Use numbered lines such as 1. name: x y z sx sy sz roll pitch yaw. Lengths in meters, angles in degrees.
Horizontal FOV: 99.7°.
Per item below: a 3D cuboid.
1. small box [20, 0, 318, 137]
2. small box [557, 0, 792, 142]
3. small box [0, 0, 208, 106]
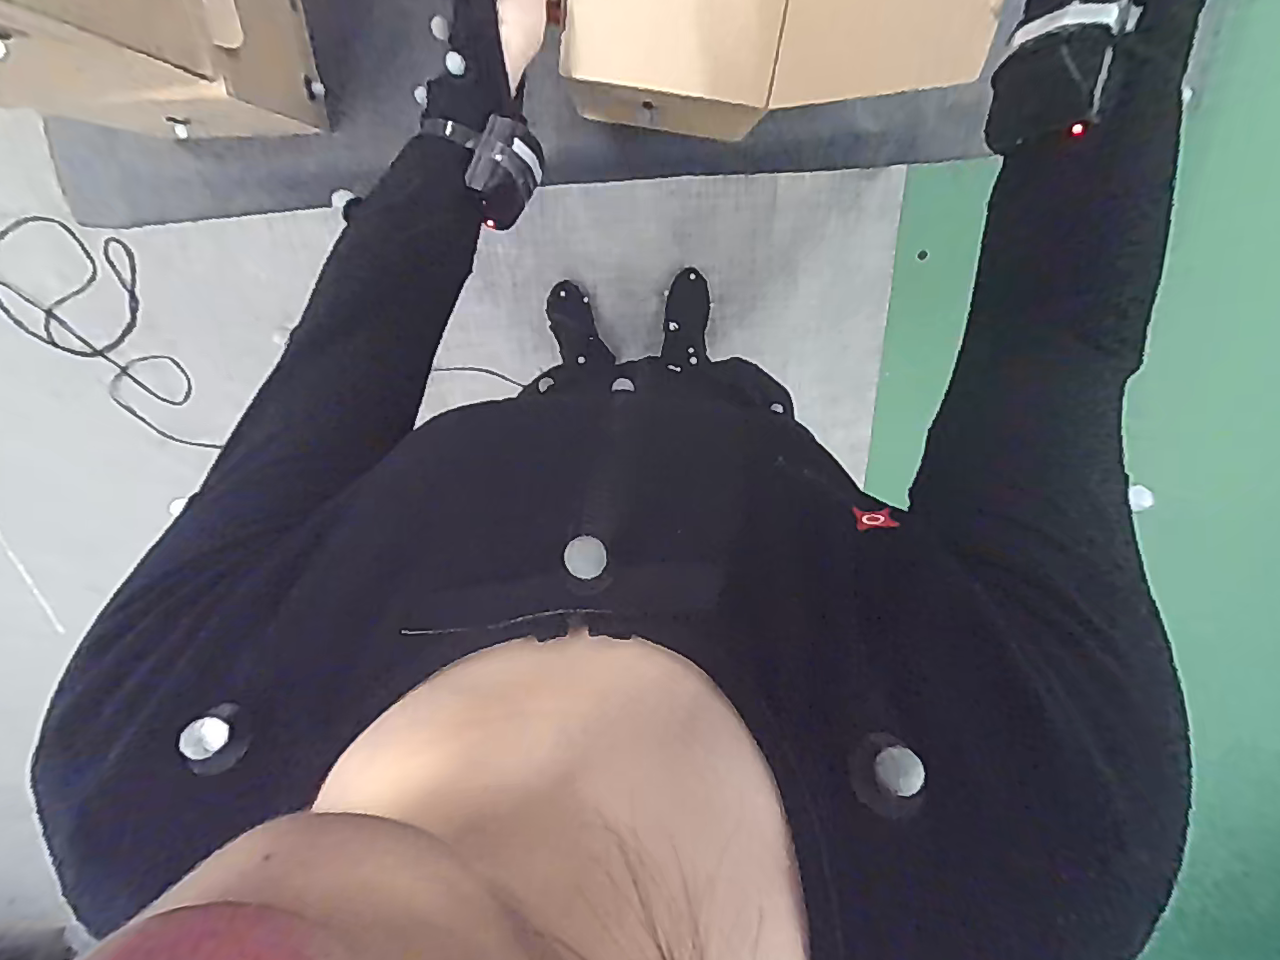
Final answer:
1. small box: -0.412 -0.406 0.466 0.179 0.176 0.168 -2 115 -1
2. small box: 0.034 -0.414 0.476 0.179 0.176 0.168 8 115 -2
3. small box: -0.422 -0.341 0.317 0.179 0.176 0.168 -7 114 1
